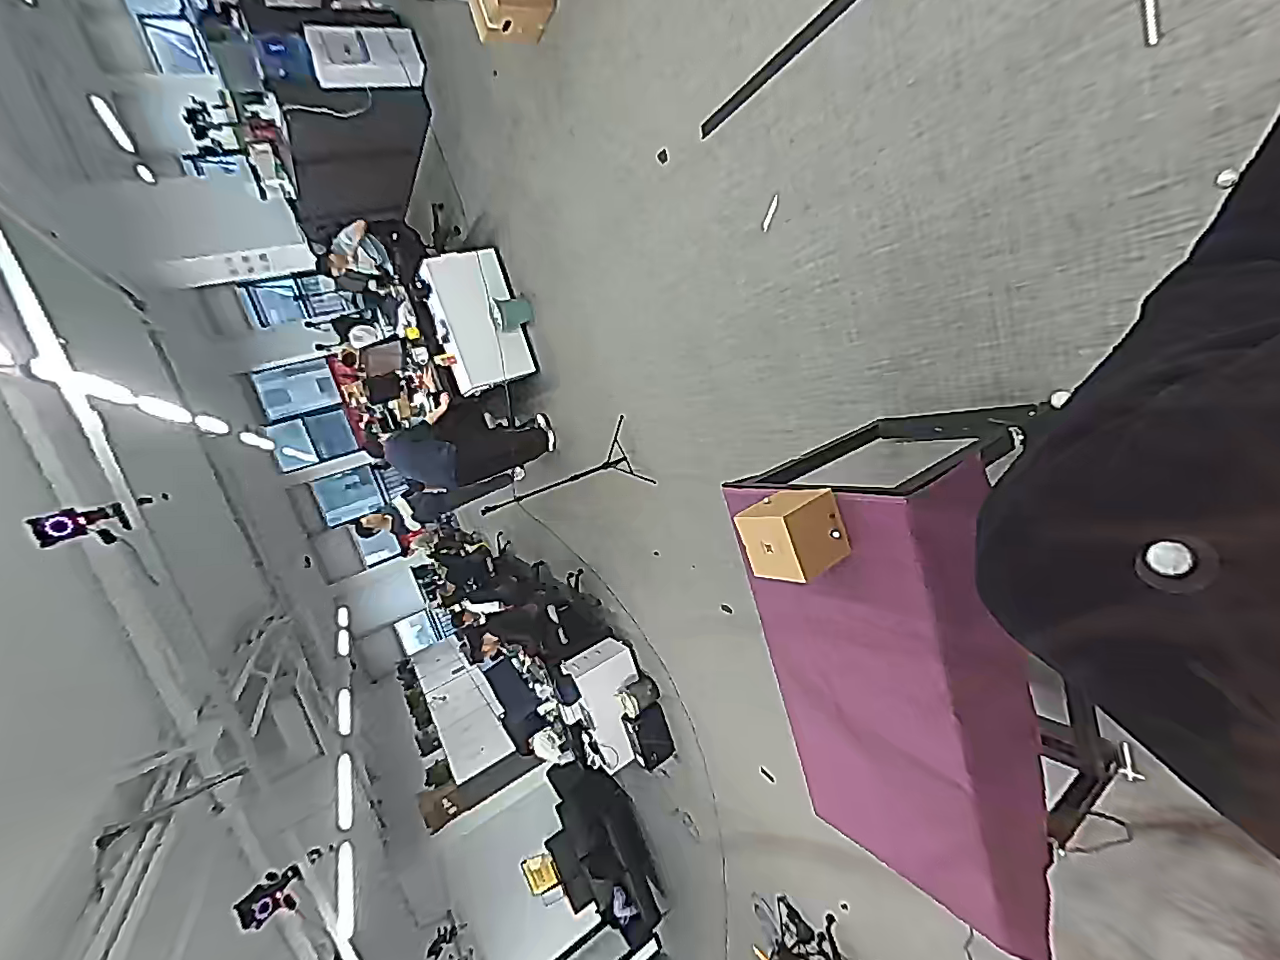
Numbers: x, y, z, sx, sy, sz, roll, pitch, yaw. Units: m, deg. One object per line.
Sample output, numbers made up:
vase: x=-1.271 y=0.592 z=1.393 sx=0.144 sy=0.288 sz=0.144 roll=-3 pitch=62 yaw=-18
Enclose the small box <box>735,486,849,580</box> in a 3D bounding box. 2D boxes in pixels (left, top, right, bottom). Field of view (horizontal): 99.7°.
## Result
small box: x=0.367 y=0.122 z=1.307 sx=0.179 sy=0.176 sz=0.168 roll=-6 pitch=107 yaw=63
